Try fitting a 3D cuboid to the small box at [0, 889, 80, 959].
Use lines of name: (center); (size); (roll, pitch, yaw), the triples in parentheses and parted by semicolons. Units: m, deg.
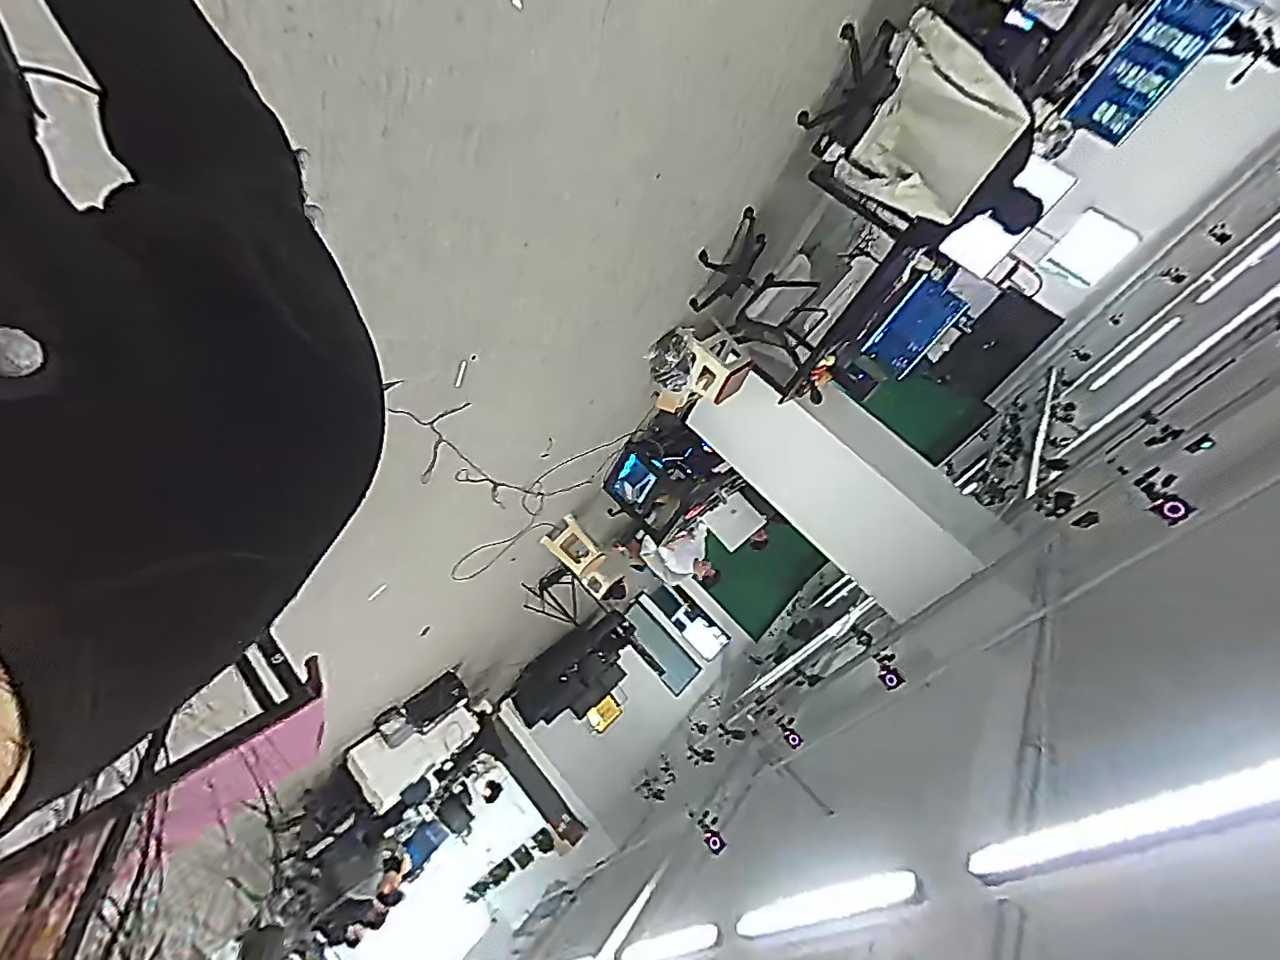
small box: (-1.587, 1.196, 1.371); (0.179, 0.176, 0.168); (-29, 159, -47)
